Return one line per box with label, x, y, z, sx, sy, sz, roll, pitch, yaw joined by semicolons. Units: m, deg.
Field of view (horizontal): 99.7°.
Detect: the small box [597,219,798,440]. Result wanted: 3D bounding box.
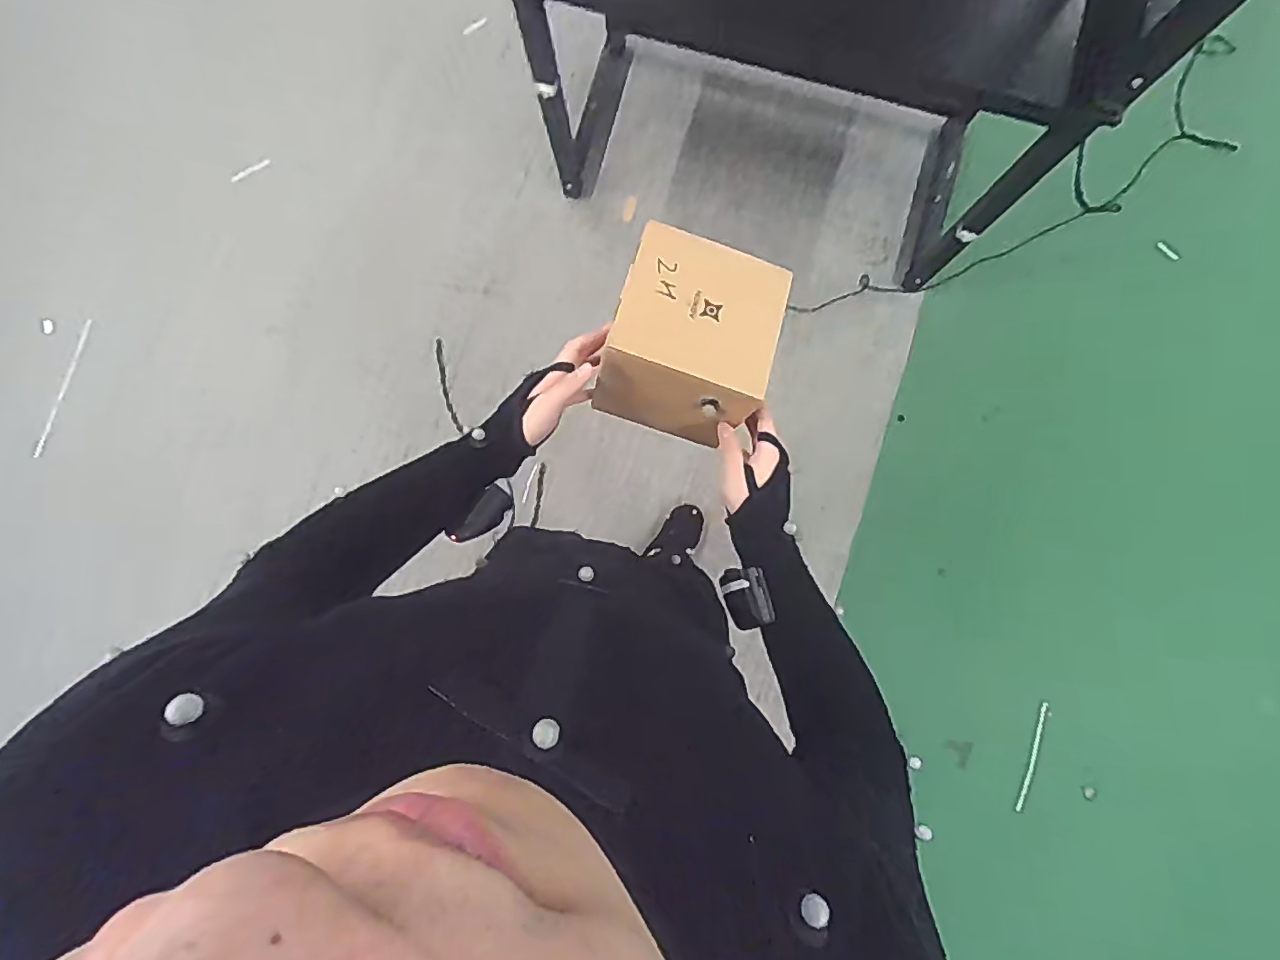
small box;0.058;-0.162;0.644;0.179;0.176;0.168;18;73;-4
